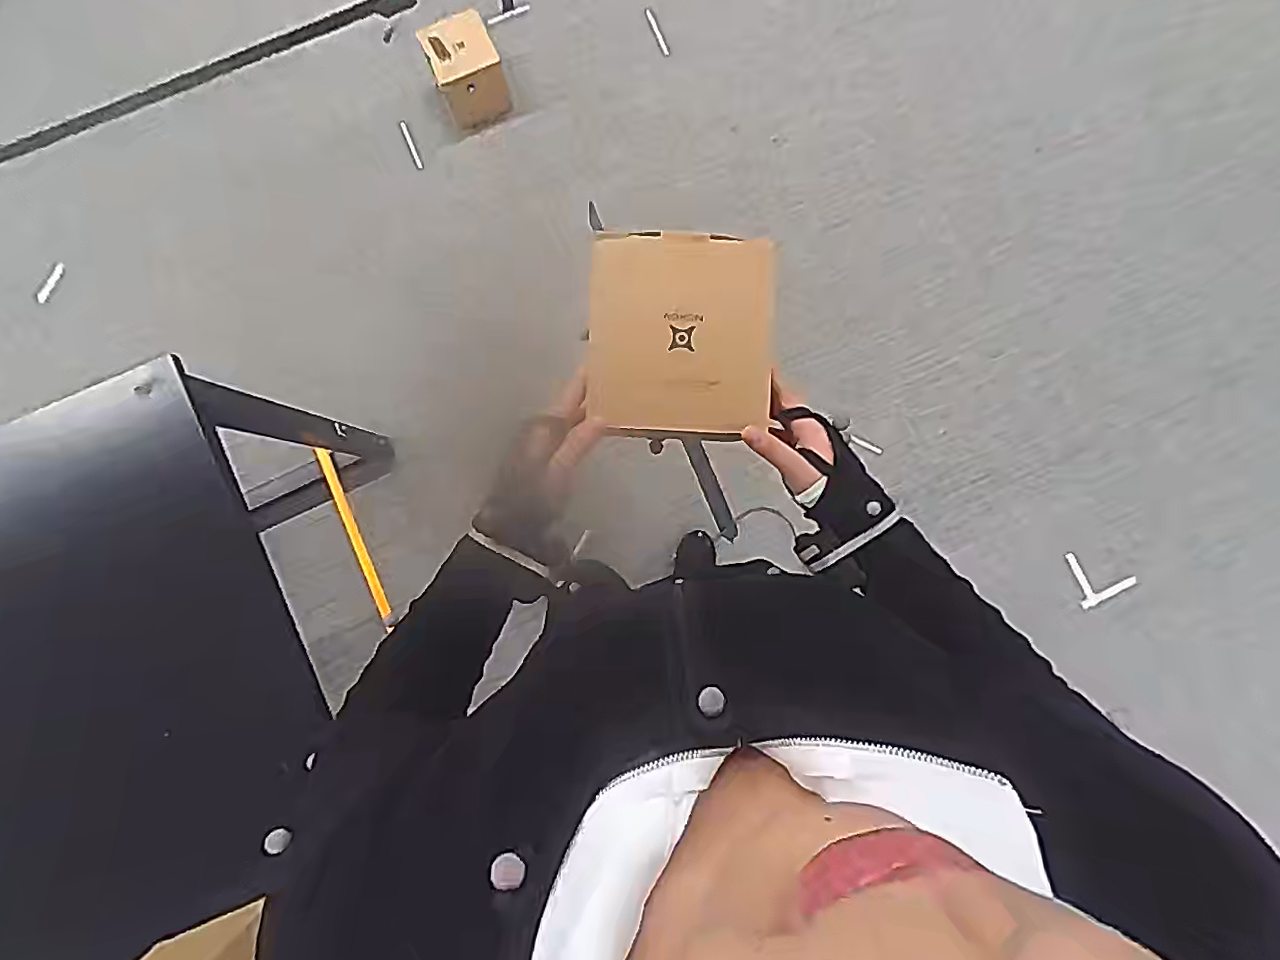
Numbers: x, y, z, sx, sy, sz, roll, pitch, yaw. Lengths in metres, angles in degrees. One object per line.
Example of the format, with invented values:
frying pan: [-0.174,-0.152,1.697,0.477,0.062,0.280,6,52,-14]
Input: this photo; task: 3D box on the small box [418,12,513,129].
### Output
small box: [-0.479,-1.129,1.507,0.179,0.176,0.168,-25,87,-3]

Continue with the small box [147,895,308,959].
small box: [-0.537,0.662,0.652,0.179,0.176,0.168,-23,87,-2]

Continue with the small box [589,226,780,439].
small box: [0.038,-0.137,0.561,0.168,0.176,0.179,3,92,0]
